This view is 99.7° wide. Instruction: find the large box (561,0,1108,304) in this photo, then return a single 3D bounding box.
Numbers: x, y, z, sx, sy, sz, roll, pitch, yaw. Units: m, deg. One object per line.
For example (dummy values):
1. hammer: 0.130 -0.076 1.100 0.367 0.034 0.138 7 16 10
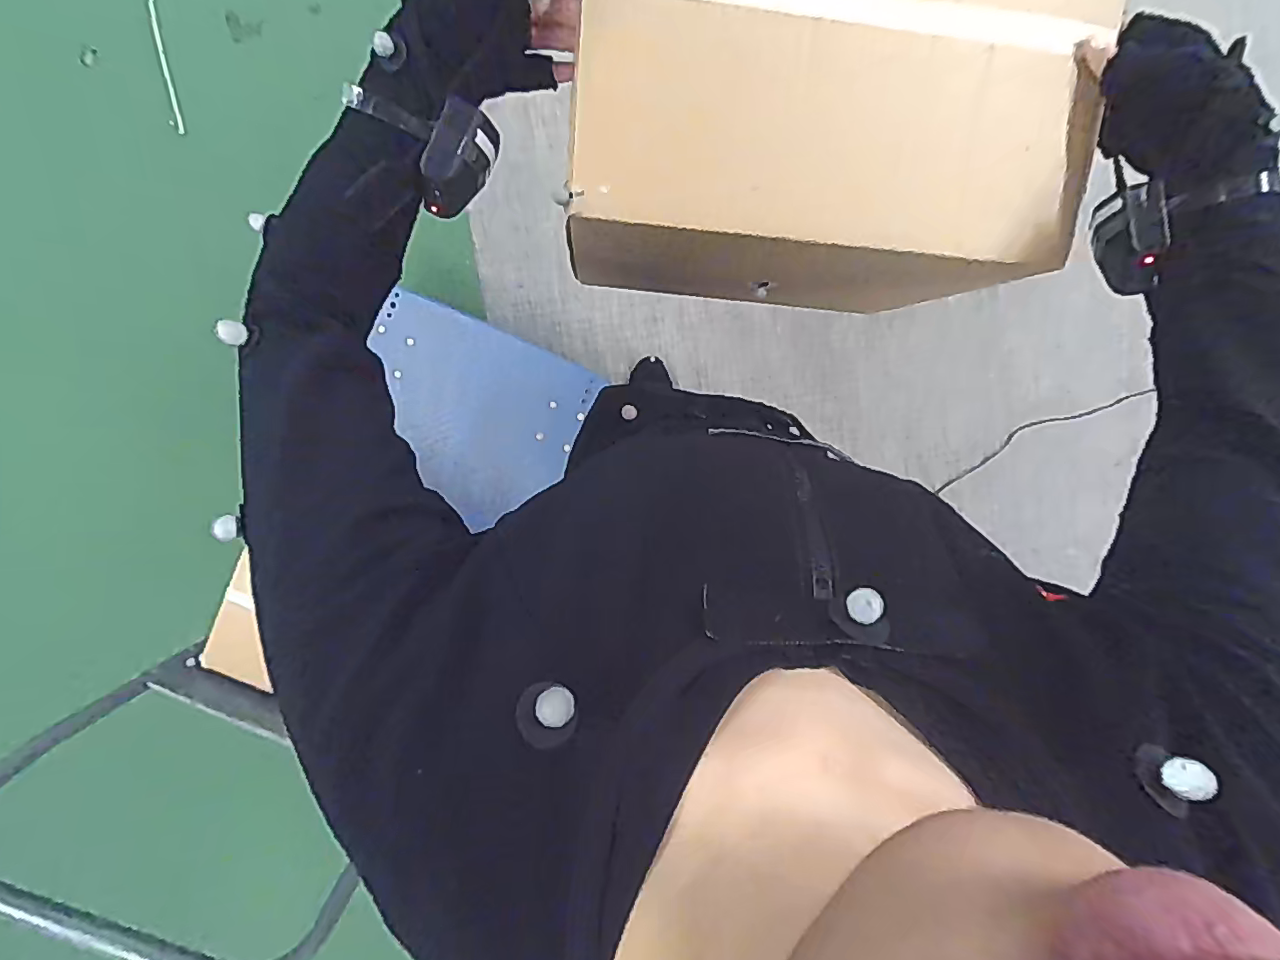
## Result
1. large box: 0.139 -0.365 0.540 0.408 0.320 0.320 4 99 -5
